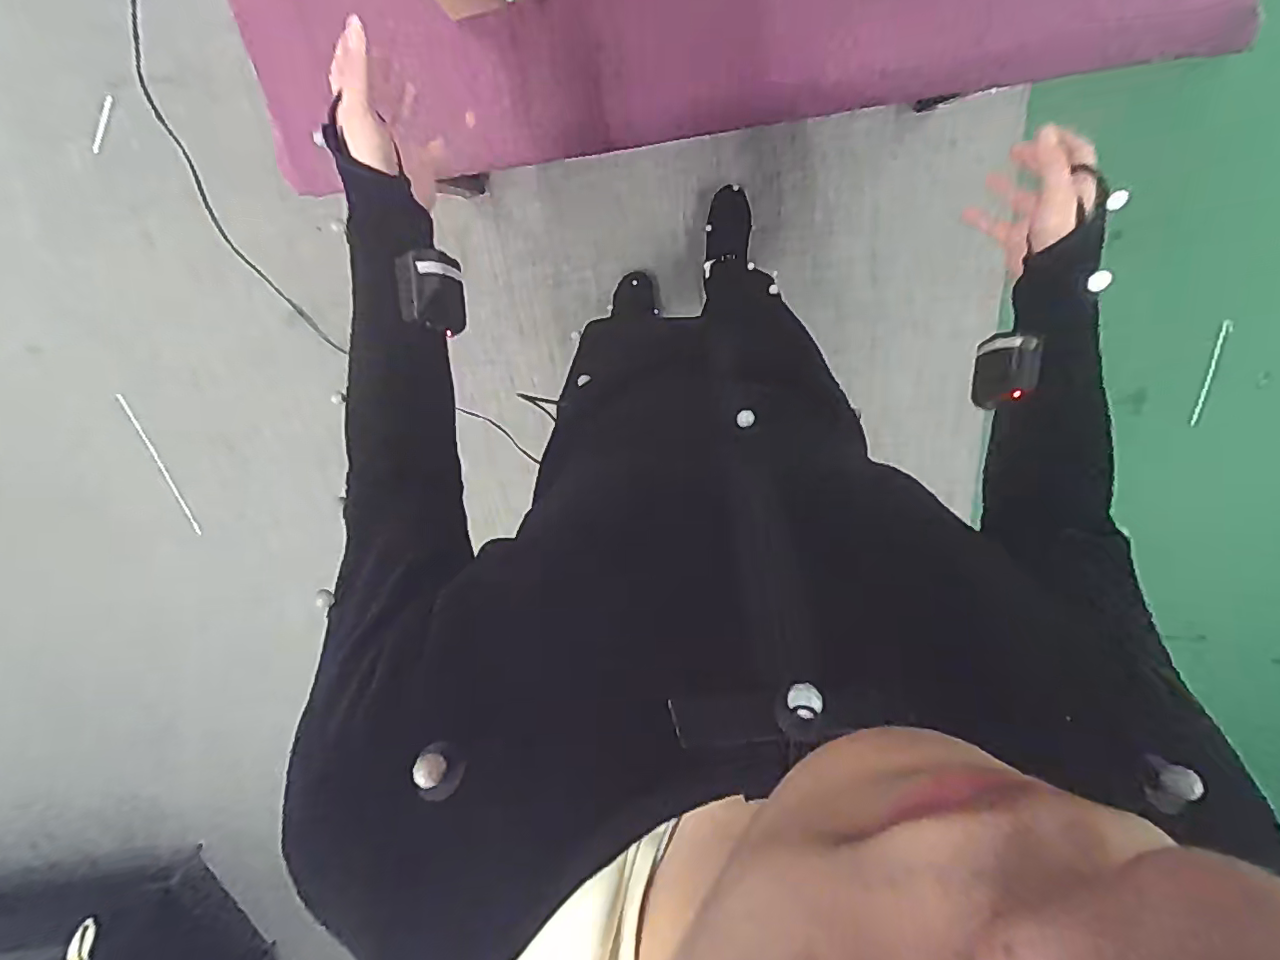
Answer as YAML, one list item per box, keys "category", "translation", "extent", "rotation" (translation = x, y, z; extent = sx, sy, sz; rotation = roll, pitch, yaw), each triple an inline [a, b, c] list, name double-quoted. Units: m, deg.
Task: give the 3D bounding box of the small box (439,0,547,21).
- category: "small box"
  translation: [-0.164, -0.600, 0.527]
  extent: [0.168, 0.176, 0.179]
  rotation: [-12, 114, 4]
